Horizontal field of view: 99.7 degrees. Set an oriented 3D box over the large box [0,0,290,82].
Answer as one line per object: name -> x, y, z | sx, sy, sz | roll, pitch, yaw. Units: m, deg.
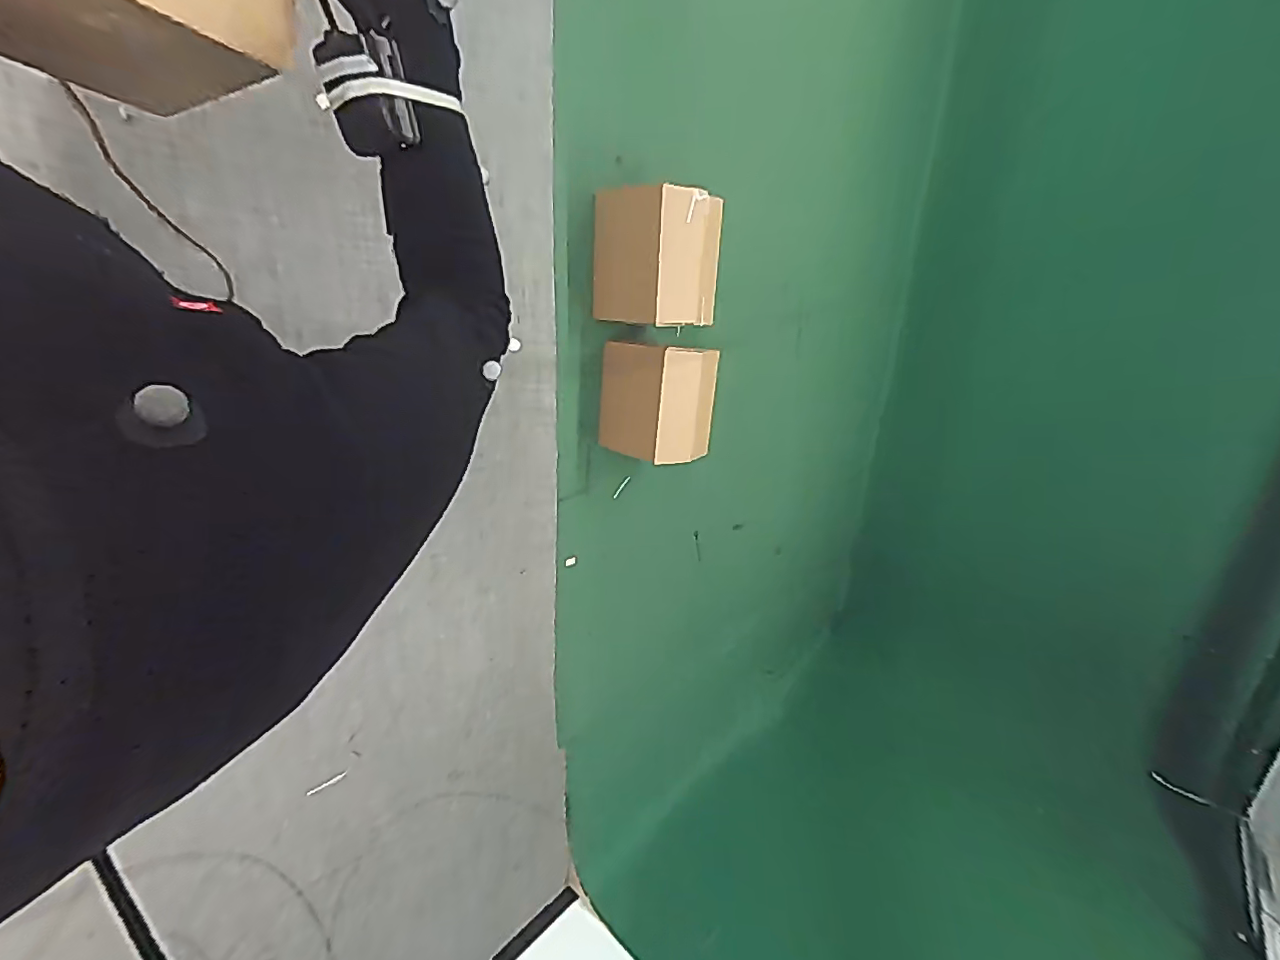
large box -> -0.431, -0.460, 0.240 | 0.408, 0.320, 0.320 | -4, 113, -53
